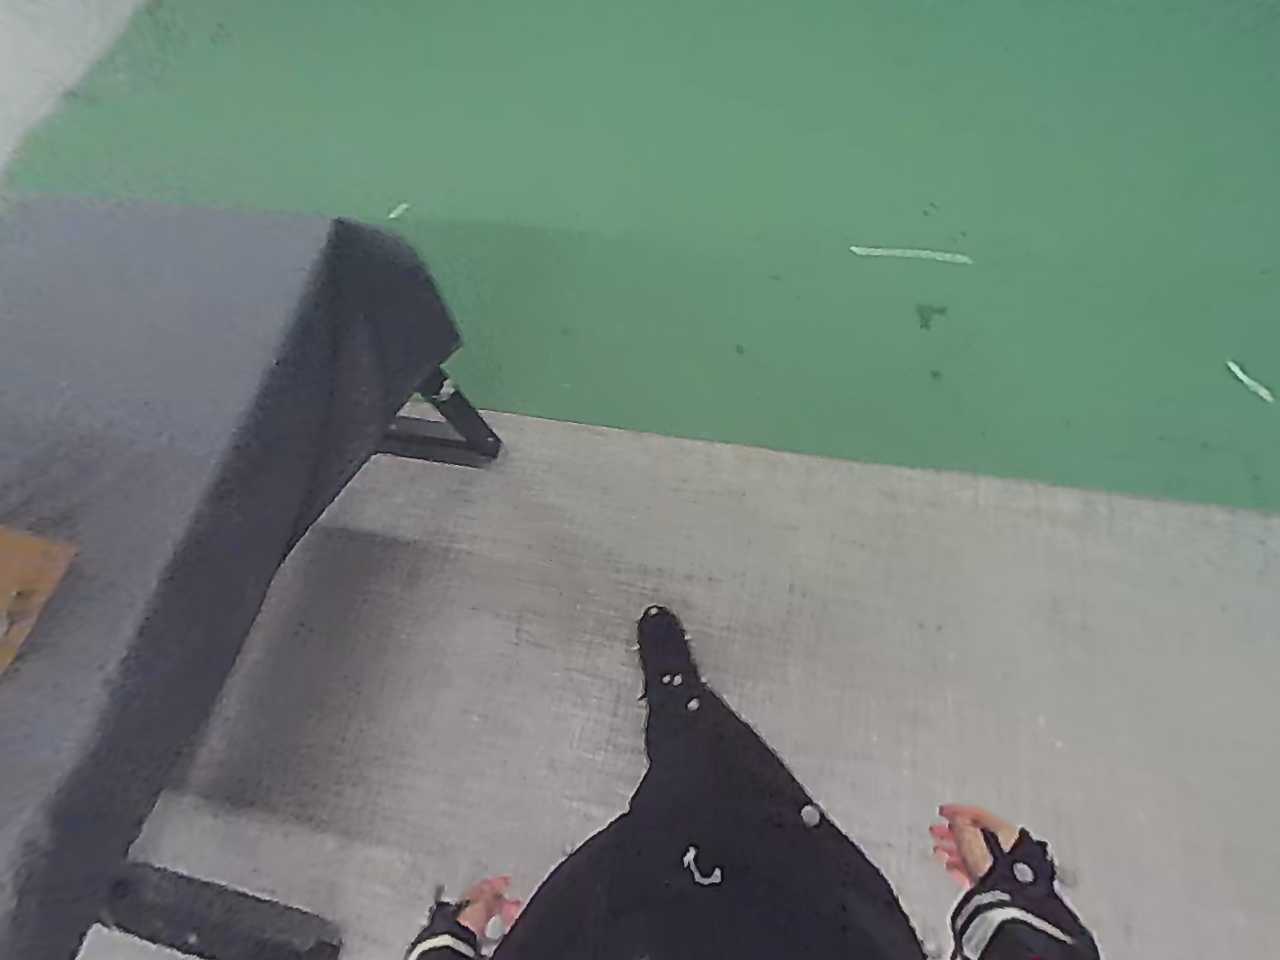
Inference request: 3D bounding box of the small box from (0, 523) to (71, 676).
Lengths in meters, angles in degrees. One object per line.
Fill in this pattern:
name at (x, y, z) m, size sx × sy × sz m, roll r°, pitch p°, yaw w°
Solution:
small box at (-0.750, 0.105, 0.530) m, size 0.179 × 0.176 × 0.168 m, roll 10°, pitch 71°, yaw 9°
